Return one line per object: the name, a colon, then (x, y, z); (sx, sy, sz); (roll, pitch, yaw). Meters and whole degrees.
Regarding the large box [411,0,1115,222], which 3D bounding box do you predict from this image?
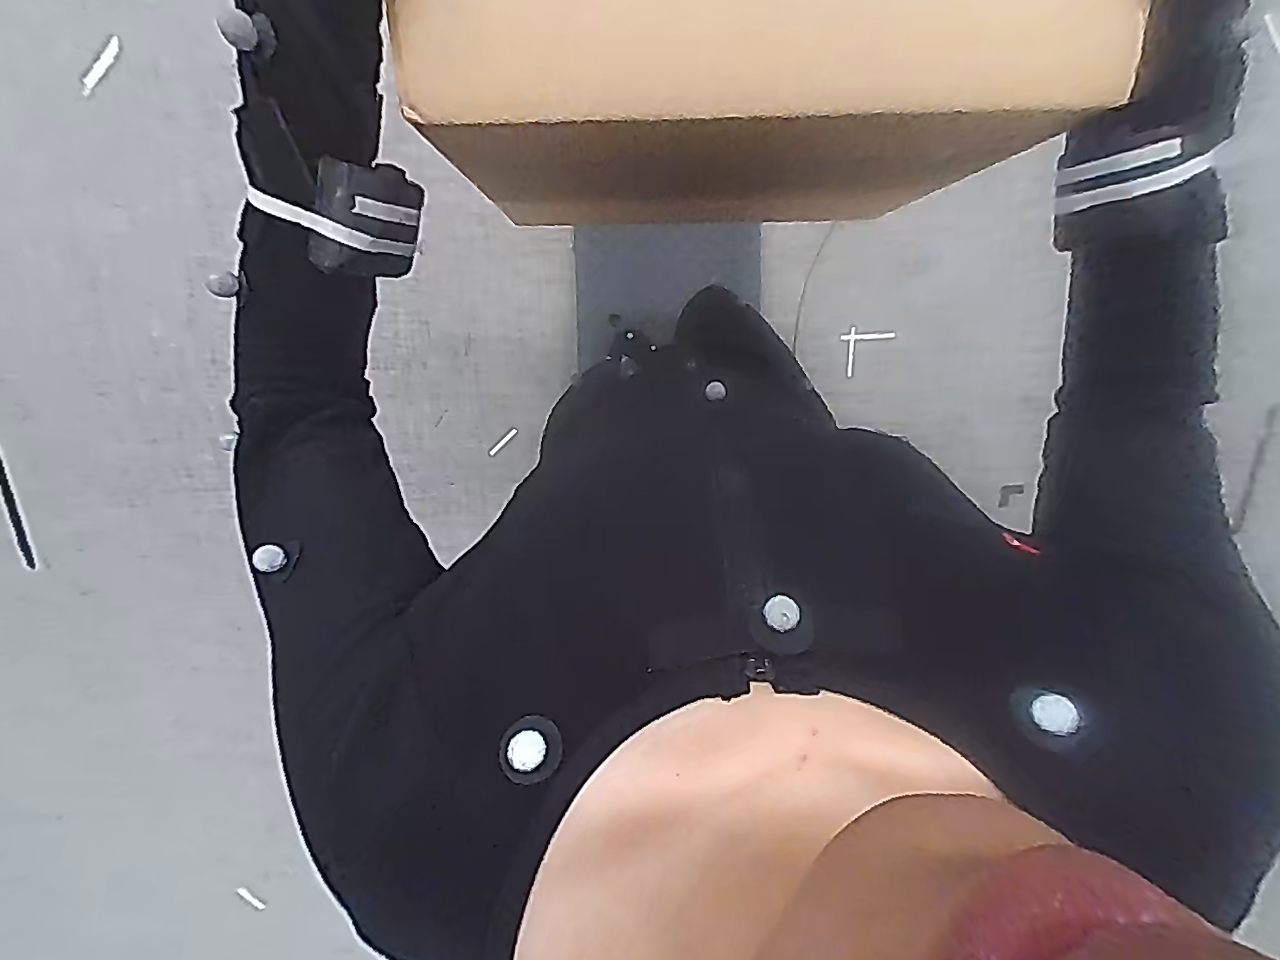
large box: (0.061, -0.404, 0.418); (0.408, 0.320, 0.320); (-2, 106, -2)
